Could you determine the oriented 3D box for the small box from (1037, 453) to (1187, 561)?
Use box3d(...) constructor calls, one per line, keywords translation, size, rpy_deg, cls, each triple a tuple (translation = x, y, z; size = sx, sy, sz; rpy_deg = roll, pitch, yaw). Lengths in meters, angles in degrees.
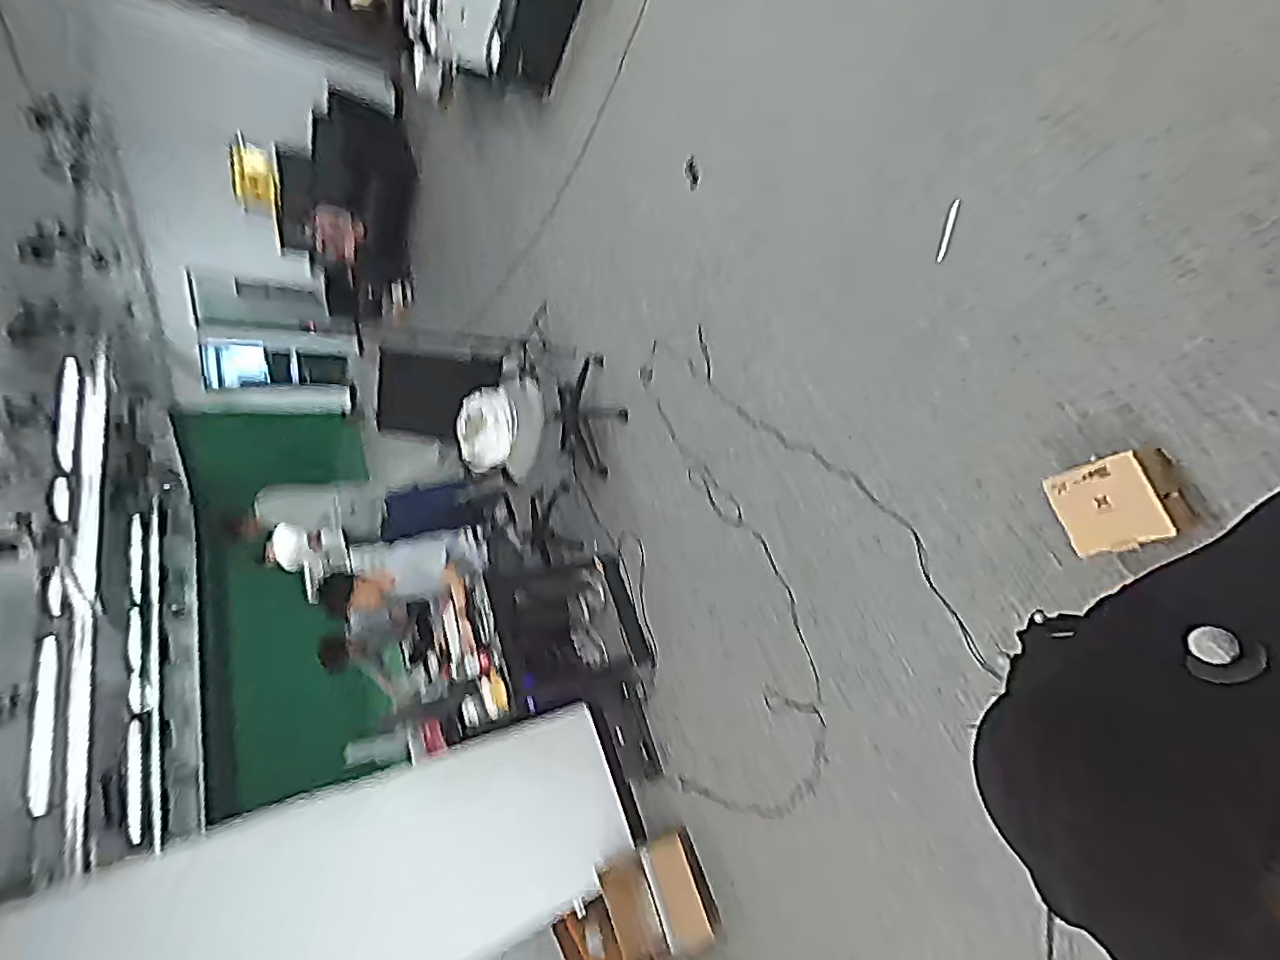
box3d(translation=(0.993, 0.054, 1.137), size=(0.168, 0.176, 0.179), rpy_deg=(-36, 65, 50), cls="small box")
